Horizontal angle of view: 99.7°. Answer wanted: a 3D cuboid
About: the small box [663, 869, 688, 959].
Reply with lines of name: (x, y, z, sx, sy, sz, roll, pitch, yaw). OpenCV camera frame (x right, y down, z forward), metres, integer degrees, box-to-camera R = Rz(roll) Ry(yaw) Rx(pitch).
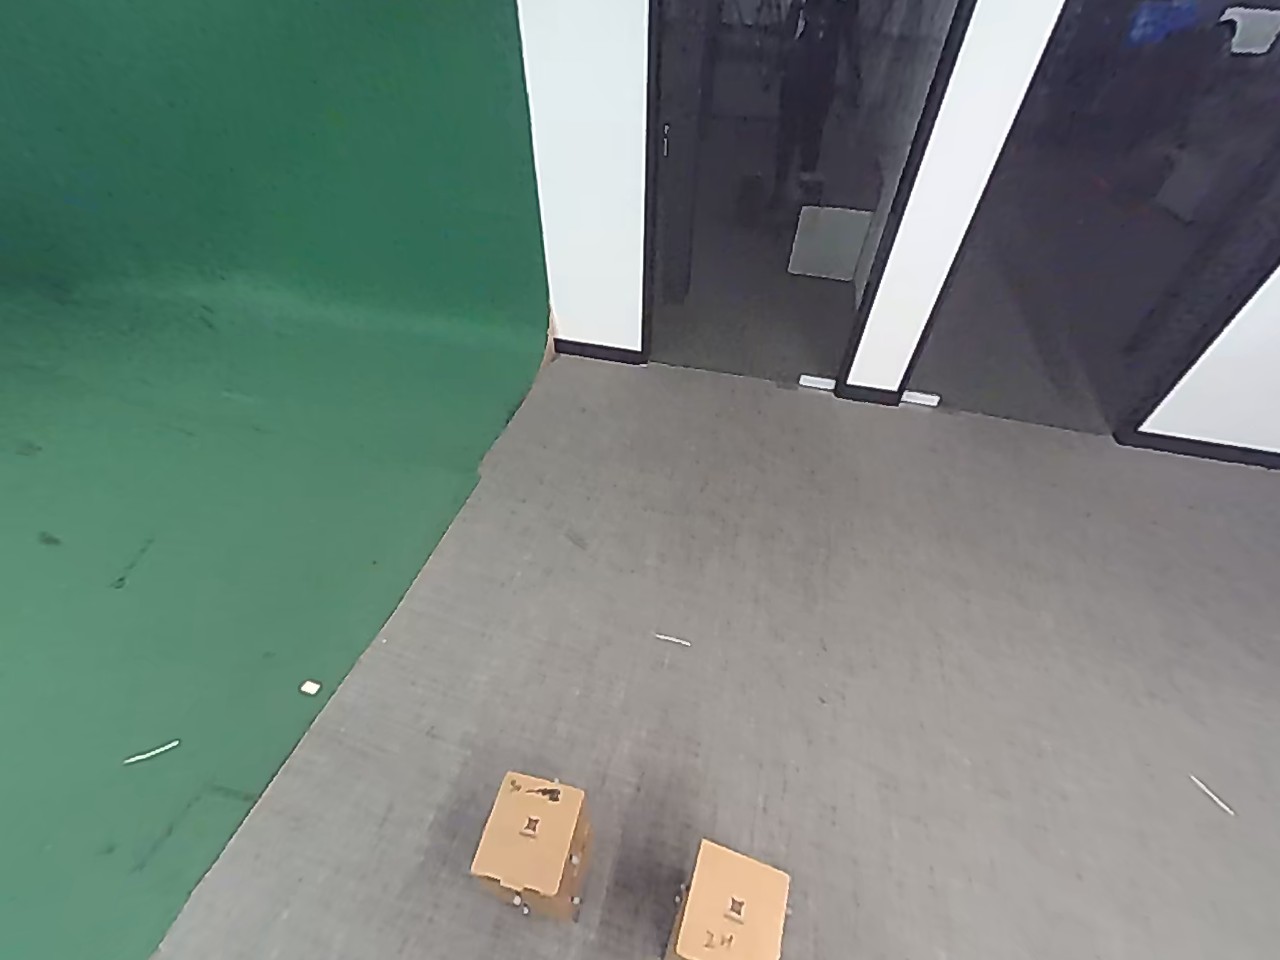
small box: (0.150, 0.916, 1.105, 0.168, 0.176, 0.179, 17, 48, 14)

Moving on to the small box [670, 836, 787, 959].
small box: (0.157, 0.798, 0.990, 0.168, 0.176, 0.179, 15, 47, 13)

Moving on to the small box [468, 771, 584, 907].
small box: (-0.211, 0.709, 1.064, 0.168, 0.176, 0.179, 10, 46, 8)
